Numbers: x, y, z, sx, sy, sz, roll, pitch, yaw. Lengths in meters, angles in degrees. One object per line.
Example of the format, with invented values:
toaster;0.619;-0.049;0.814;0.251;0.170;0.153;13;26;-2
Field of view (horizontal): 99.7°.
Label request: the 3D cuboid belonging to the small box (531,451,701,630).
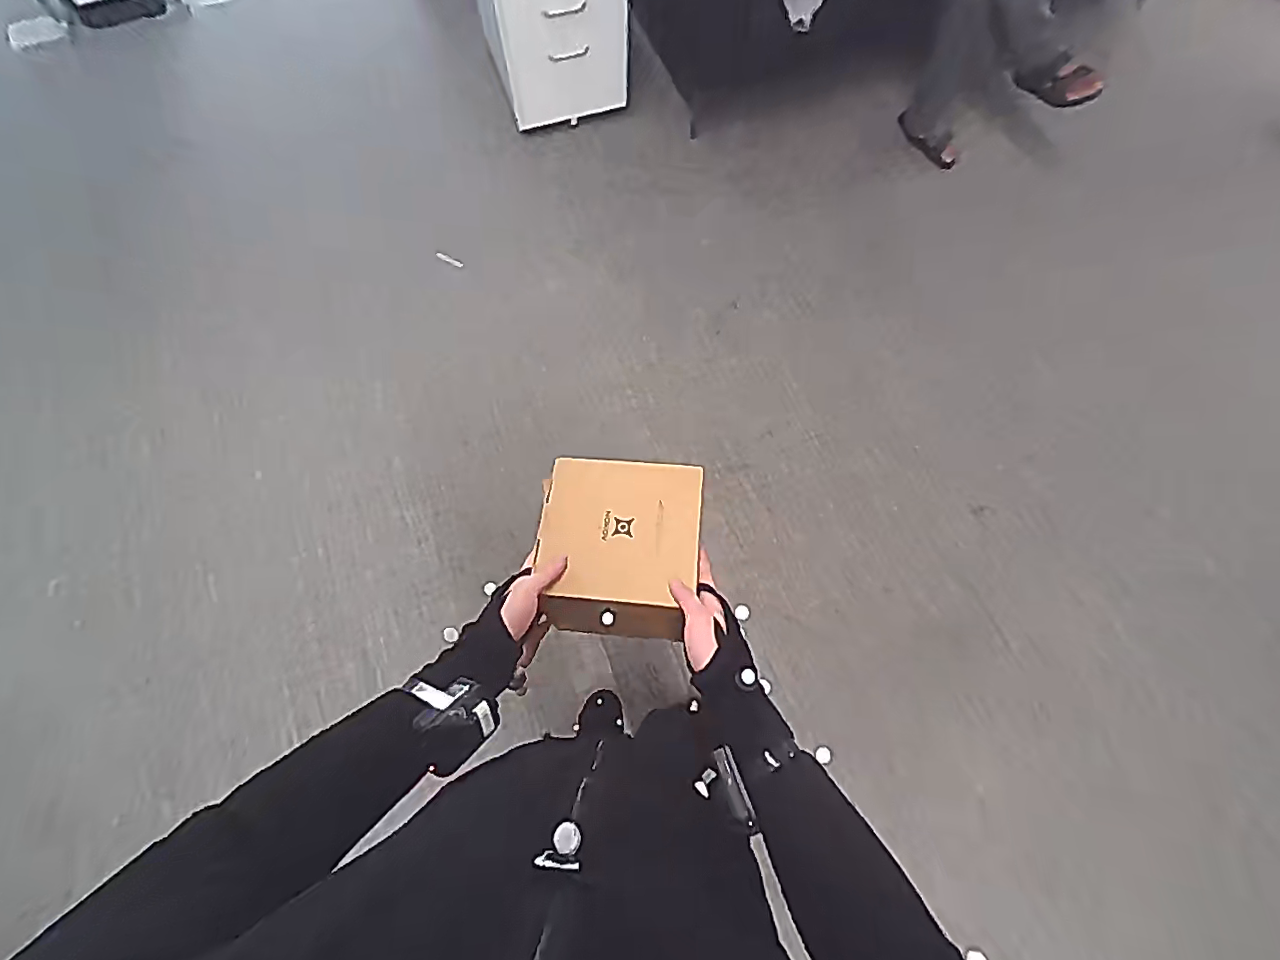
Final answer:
small box;-0.018;0.081;0.667;0.179;0.176;0.168;3;61;4
